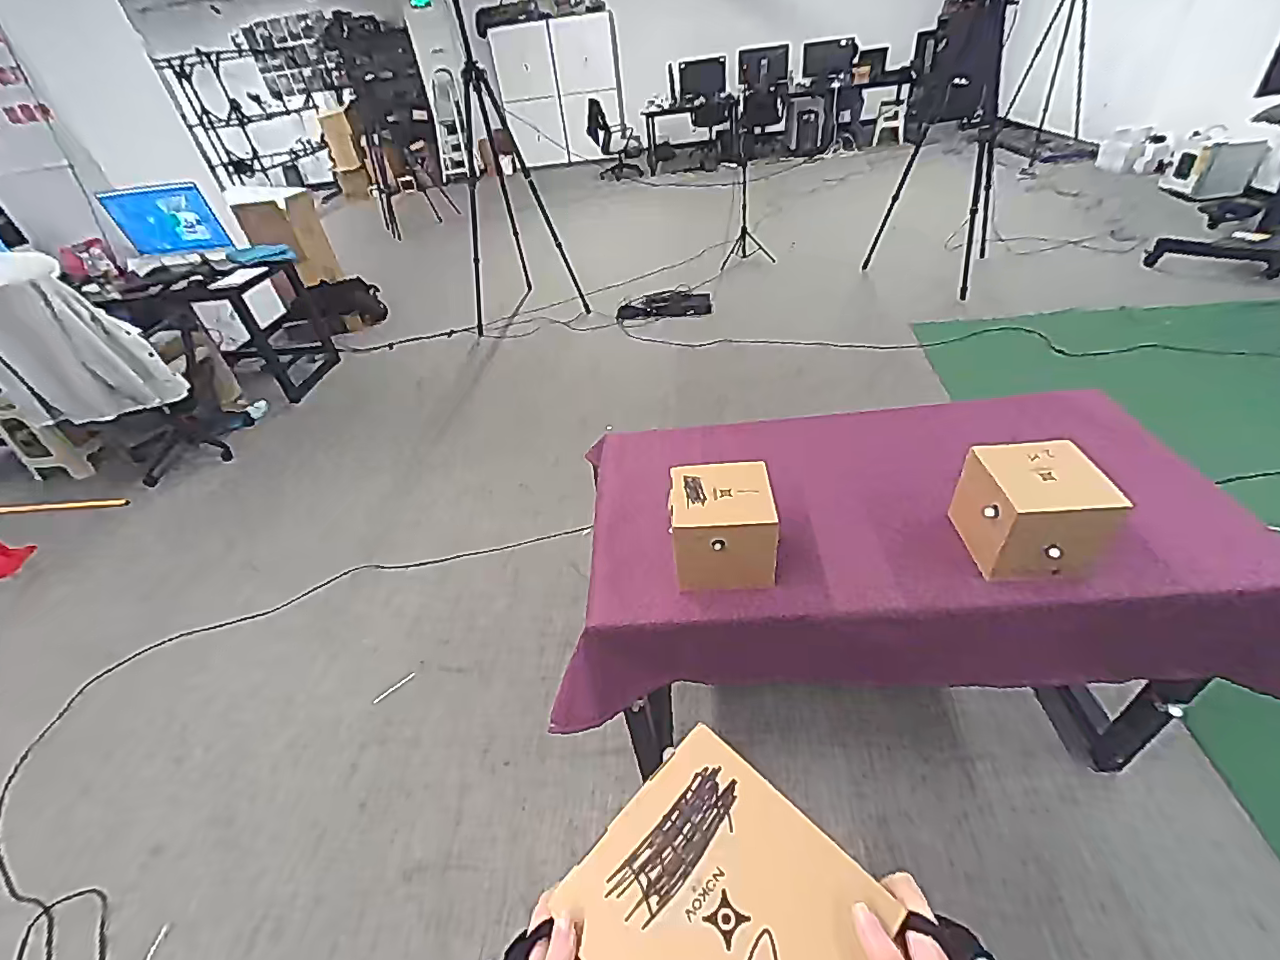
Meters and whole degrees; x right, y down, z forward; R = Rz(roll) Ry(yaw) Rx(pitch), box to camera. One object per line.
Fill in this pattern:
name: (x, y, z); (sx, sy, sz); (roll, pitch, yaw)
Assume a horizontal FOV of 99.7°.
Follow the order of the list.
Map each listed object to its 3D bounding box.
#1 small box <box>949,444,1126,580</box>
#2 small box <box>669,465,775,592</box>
small box: (0.667, 0.059, 0.934); (0.168, 0.176, 0.179); (-3, 39, 6)
small box: (0.148, 0.091, 0.994); (0.179, 0.176, 0.168); (-3, 39, 6)
